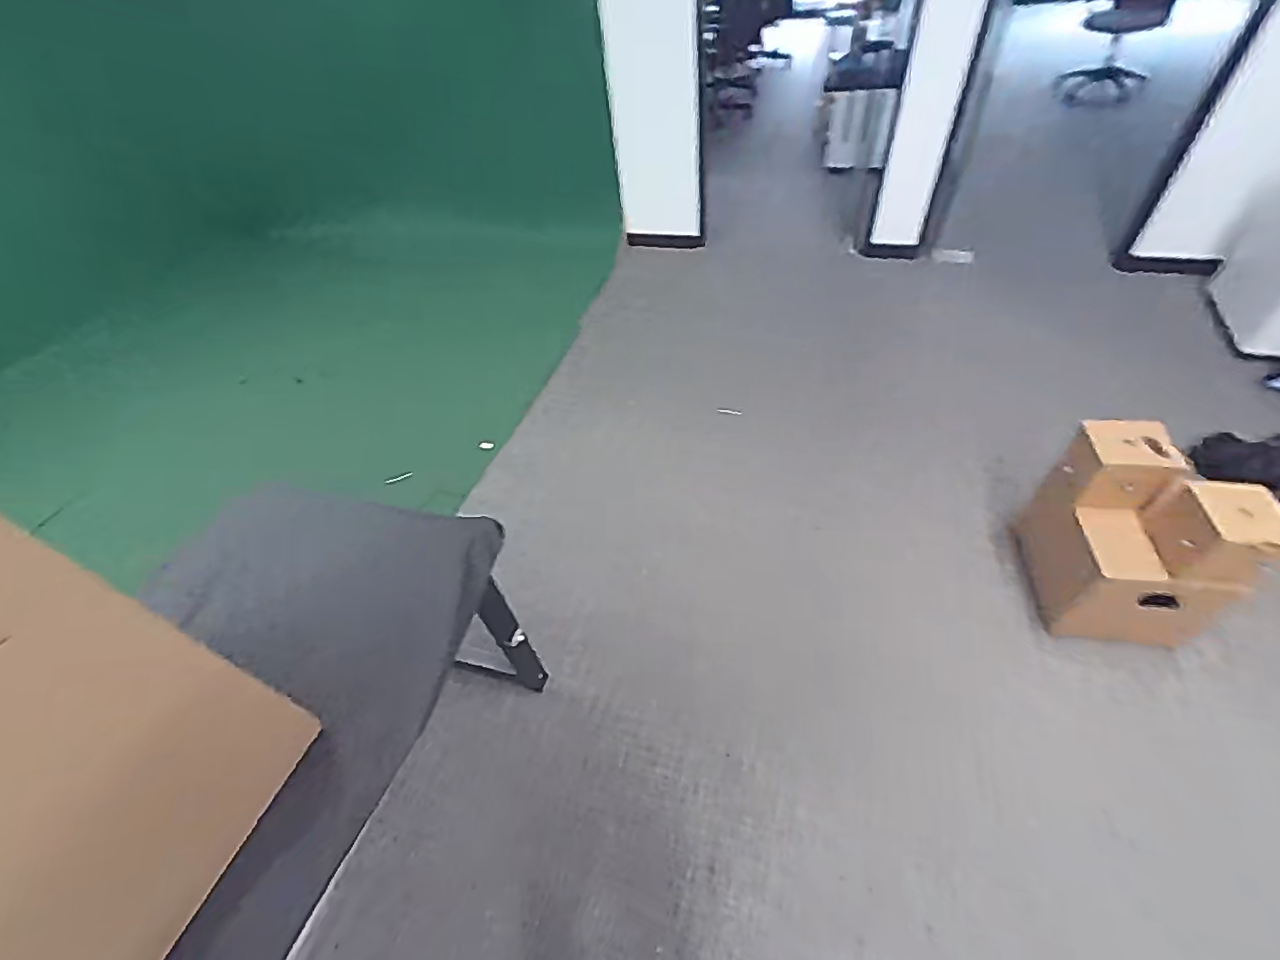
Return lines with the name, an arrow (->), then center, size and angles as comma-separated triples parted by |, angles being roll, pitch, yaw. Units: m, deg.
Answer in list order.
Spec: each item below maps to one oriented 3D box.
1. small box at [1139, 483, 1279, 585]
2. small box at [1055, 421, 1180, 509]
small box -> 1.352, 0.129, 1.276 | 0.168, 0.176, 0.179 | 4, 47, 7
small box -> 1.257, -0.038, 1.438 | 0.179, 0.176, 0.168 | 3, 48, 14
